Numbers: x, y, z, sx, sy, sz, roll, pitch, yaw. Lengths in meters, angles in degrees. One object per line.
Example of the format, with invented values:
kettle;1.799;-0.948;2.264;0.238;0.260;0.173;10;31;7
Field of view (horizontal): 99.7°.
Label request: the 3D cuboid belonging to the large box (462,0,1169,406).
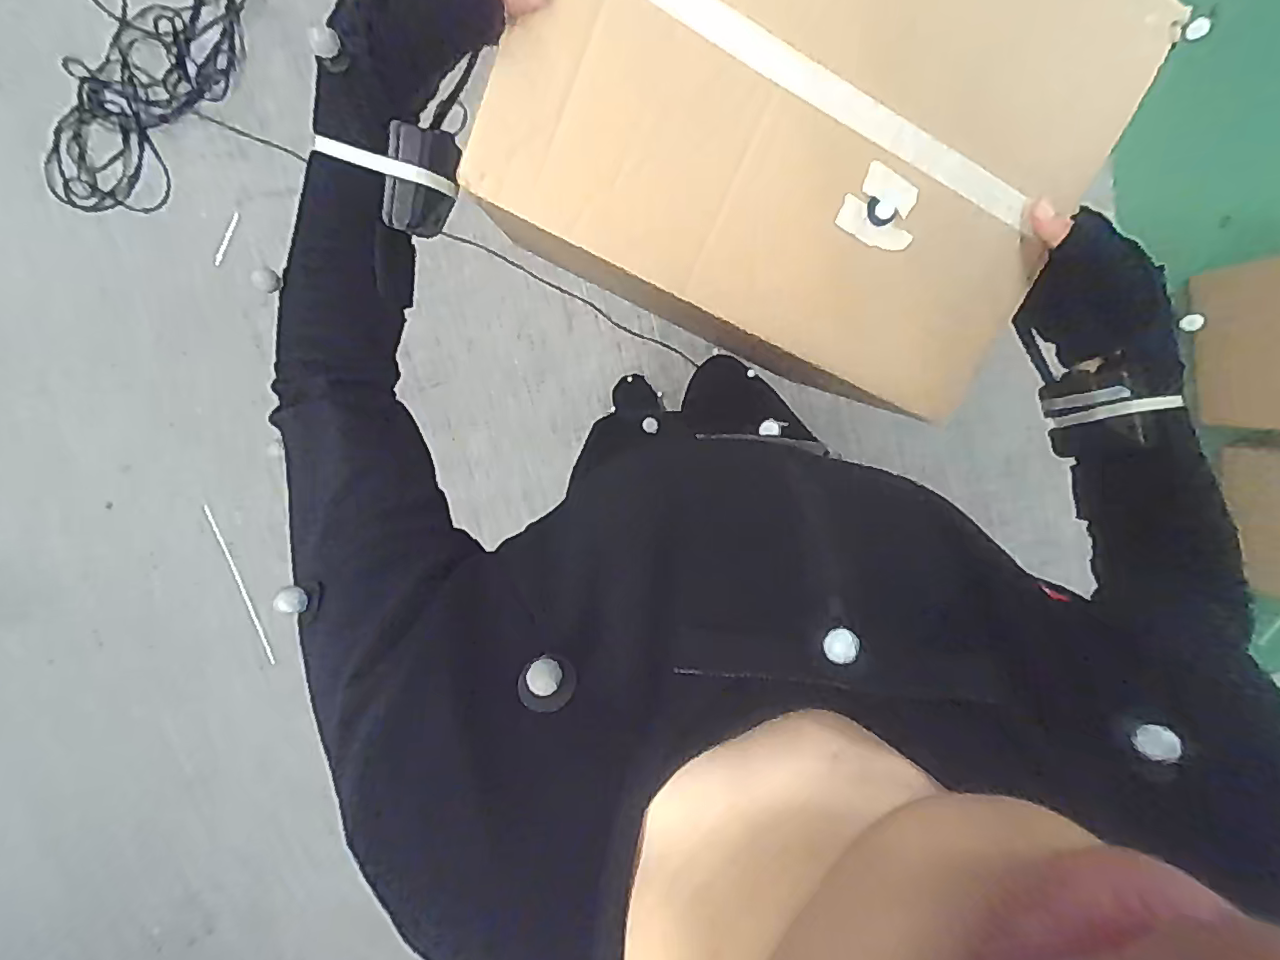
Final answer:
large box;0.102;-0.304;0.496;0.408;0.320;0.320;22;104;-14
